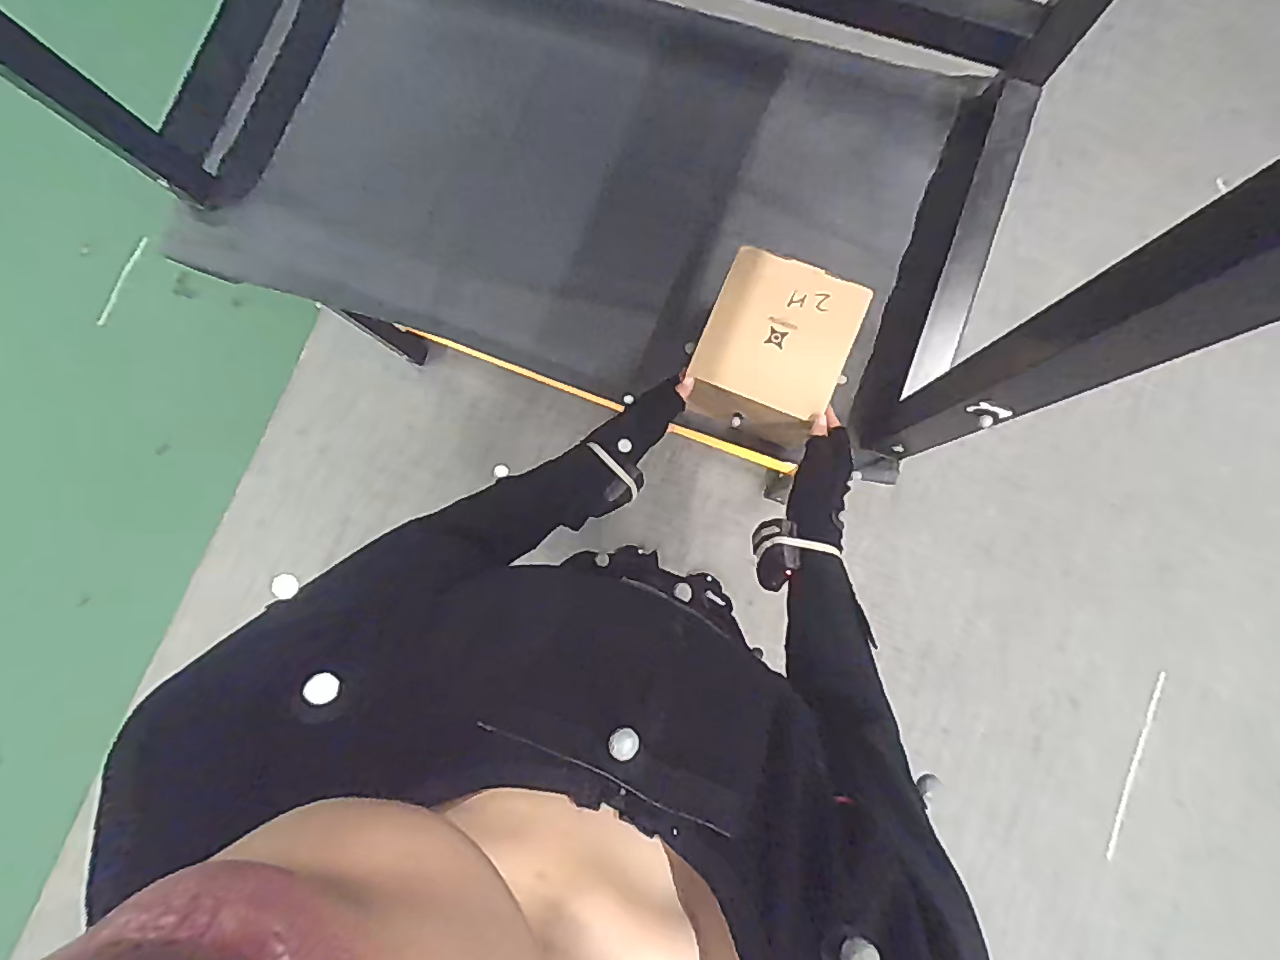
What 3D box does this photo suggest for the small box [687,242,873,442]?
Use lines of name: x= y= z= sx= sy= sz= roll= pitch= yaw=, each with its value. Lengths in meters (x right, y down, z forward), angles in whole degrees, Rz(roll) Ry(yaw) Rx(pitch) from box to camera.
small box: x=0.170 y=-0.165 z=0.706 sx=0.168 sy=0.176 sz=0.179 roll=23 pitch=86 yaw=6
